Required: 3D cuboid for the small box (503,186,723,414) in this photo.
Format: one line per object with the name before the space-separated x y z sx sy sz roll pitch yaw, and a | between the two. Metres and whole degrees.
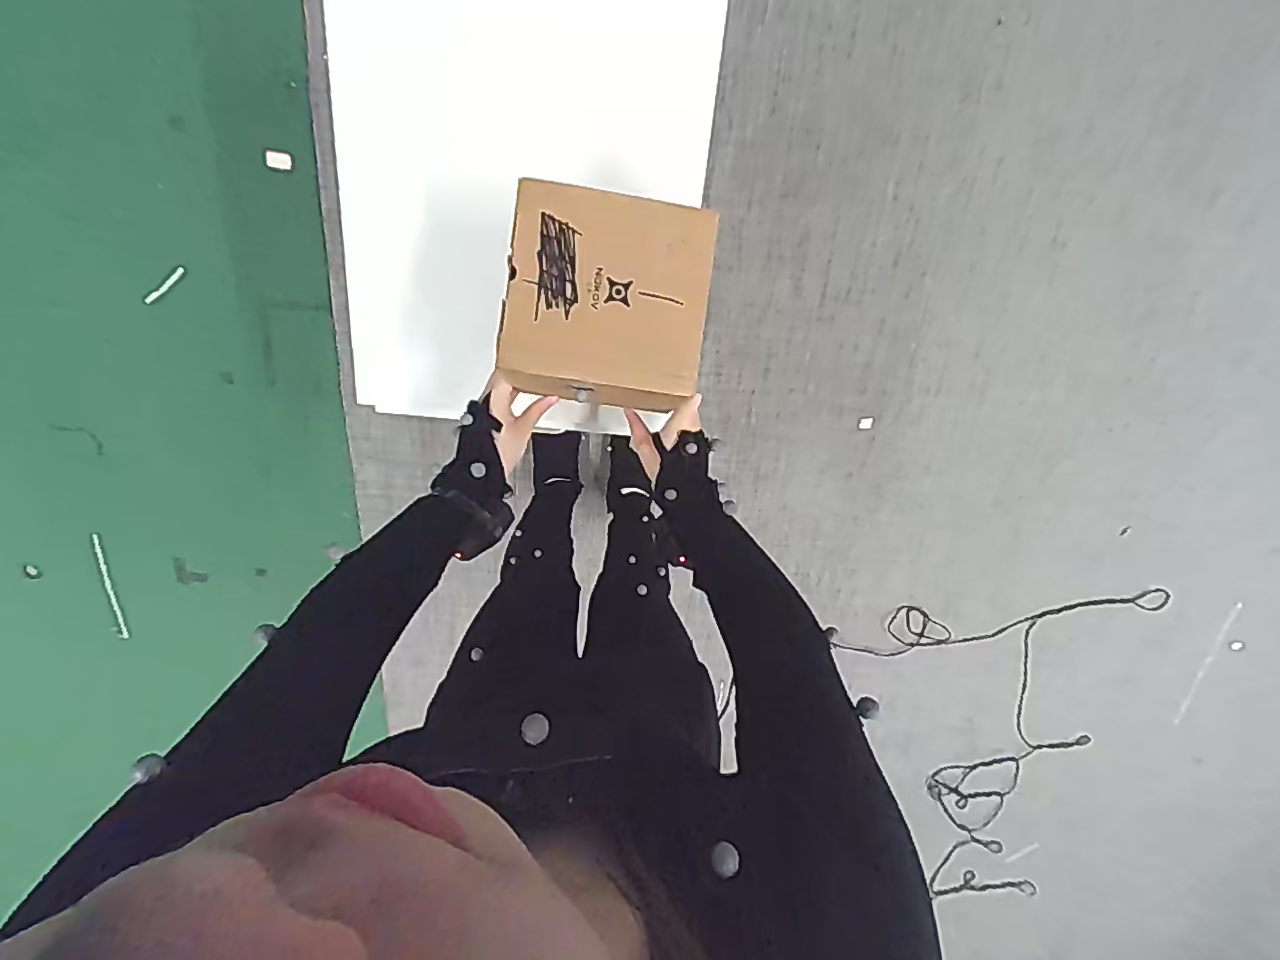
small box | -0.030 -0.164 0.554 0.179 0.176 0.168 8 92 -6
